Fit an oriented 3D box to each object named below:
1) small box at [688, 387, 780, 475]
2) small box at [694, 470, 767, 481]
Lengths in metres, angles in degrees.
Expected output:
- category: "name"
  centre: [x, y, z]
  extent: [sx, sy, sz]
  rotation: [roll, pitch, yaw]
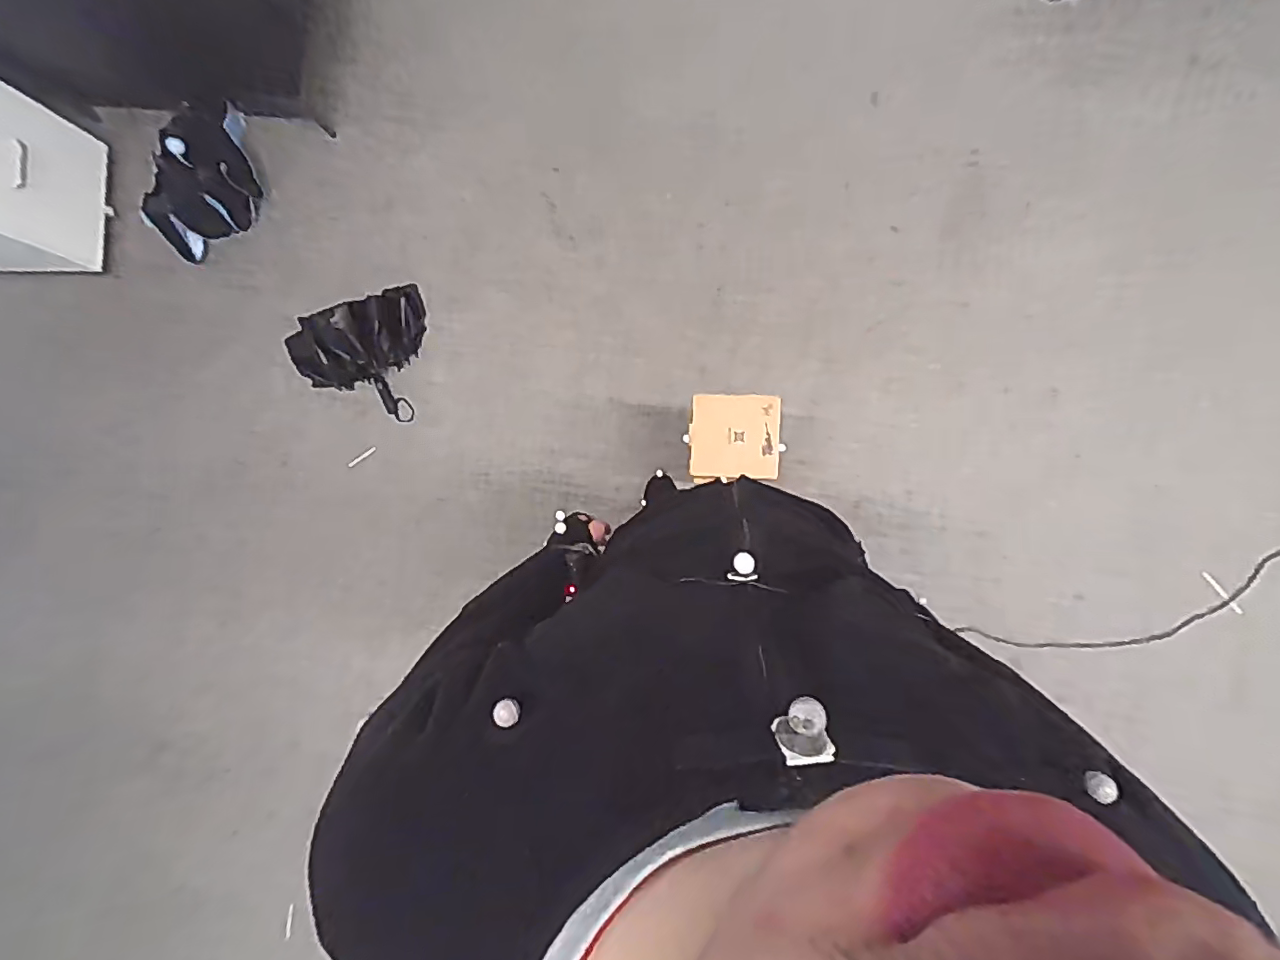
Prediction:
- category: "small box"
  centre: [0.197, -0.099, 1.150]
  extent: [0.179, 0.176, 0.168]
  rotation: [3, 89, 7]
- category: "small box"
  centre: [0.219, -0.089, 1.312]
  extent: [0.168, 0.176, 0.179]
  rotation: [3, 90, 7]
